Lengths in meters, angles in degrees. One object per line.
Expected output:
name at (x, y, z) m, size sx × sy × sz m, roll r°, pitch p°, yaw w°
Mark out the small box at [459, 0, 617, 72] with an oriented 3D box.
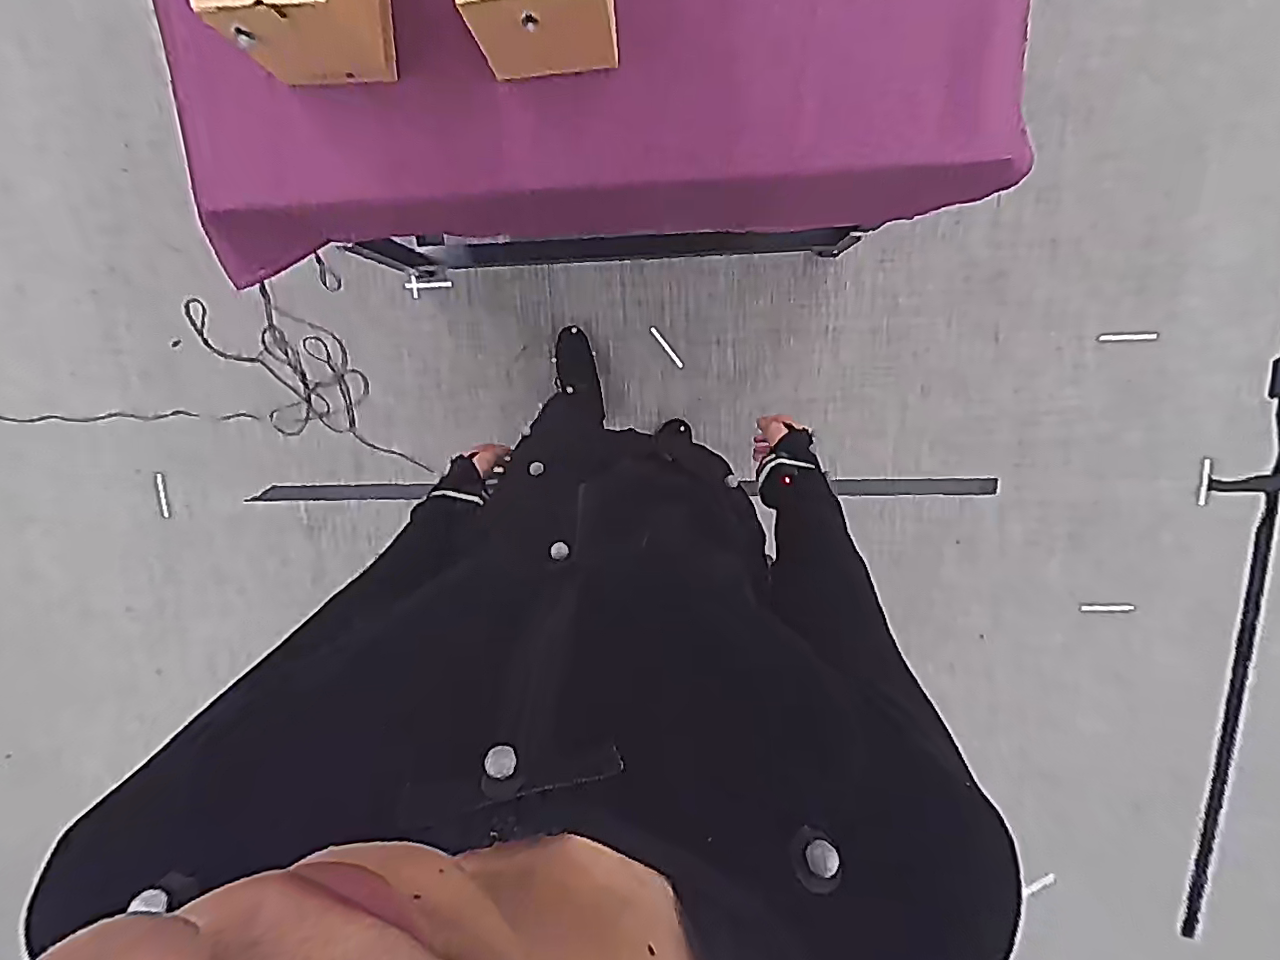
small box at (-0.127, -0.646, 0.674) m, size 0.179 × 0.176 × 0.168 m, roll -4°, pitch 102°, yaw 3°
